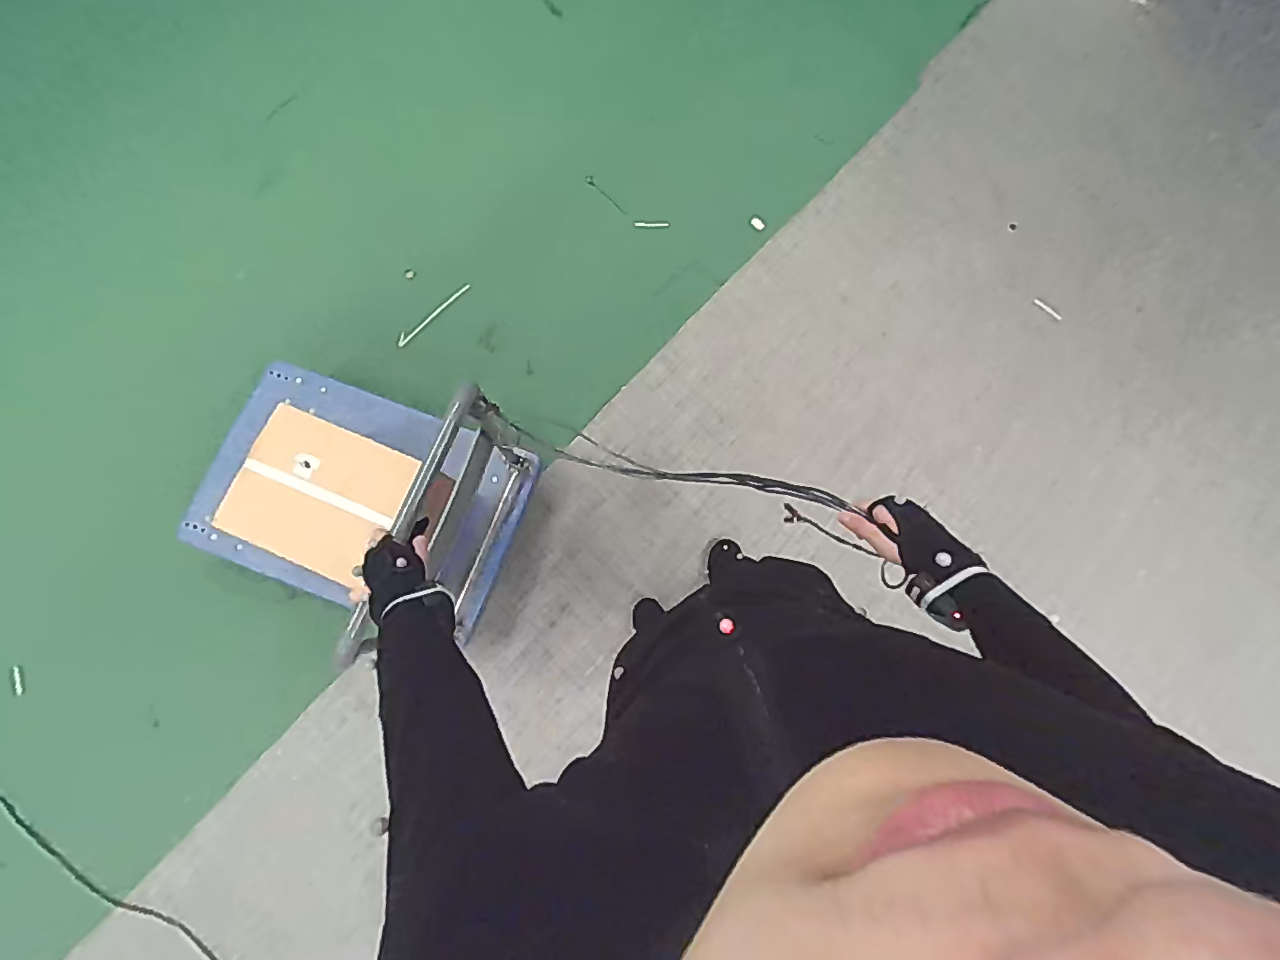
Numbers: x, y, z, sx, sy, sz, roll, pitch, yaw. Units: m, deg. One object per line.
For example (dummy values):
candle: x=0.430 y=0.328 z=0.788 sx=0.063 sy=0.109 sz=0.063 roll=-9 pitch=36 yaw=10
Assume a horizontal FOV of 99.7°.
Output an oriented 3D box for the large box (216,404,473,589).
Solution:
large box: x=-0.702 y=0.059 z=1.356 sx=0.408 sy=0.320 sz=0.320 roll=22 pitch=79 yaw=5
